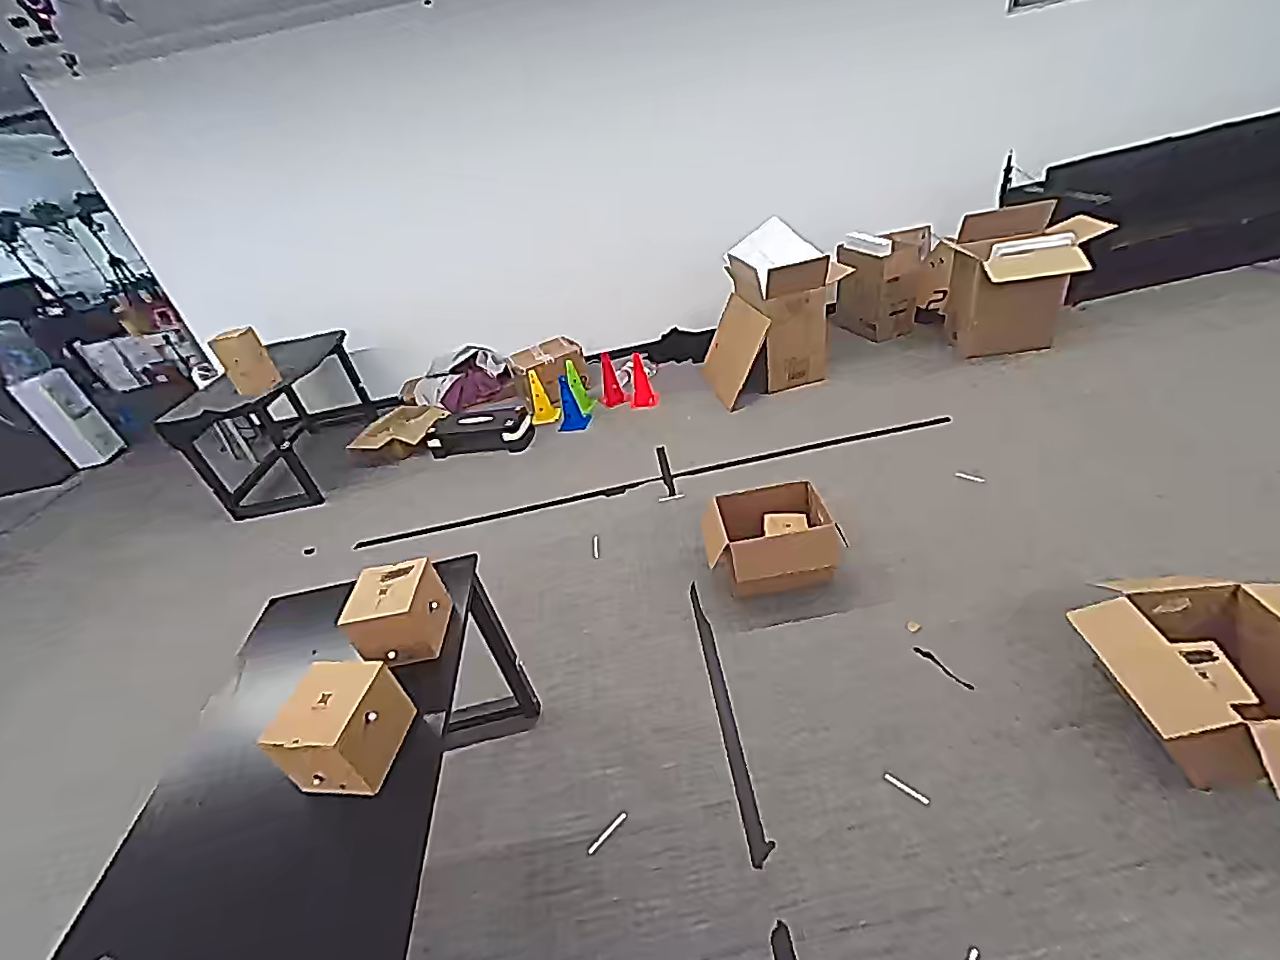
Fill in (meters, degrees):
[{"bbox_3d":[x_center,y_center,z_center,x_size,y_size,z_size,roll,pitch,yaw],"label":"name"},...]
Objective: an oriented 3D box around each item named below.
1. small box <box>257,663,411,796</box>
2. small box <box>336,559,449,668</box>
[{"bbox_3d":[-0.576,0.481,1.049,0.168,0.176,0.179,-6,35,12],"label":"small box"},{"bbox_3d":[-0.571,0.318,1.278,0.168,0.176,0.179,-12,35,2],"label":"small box"}]
